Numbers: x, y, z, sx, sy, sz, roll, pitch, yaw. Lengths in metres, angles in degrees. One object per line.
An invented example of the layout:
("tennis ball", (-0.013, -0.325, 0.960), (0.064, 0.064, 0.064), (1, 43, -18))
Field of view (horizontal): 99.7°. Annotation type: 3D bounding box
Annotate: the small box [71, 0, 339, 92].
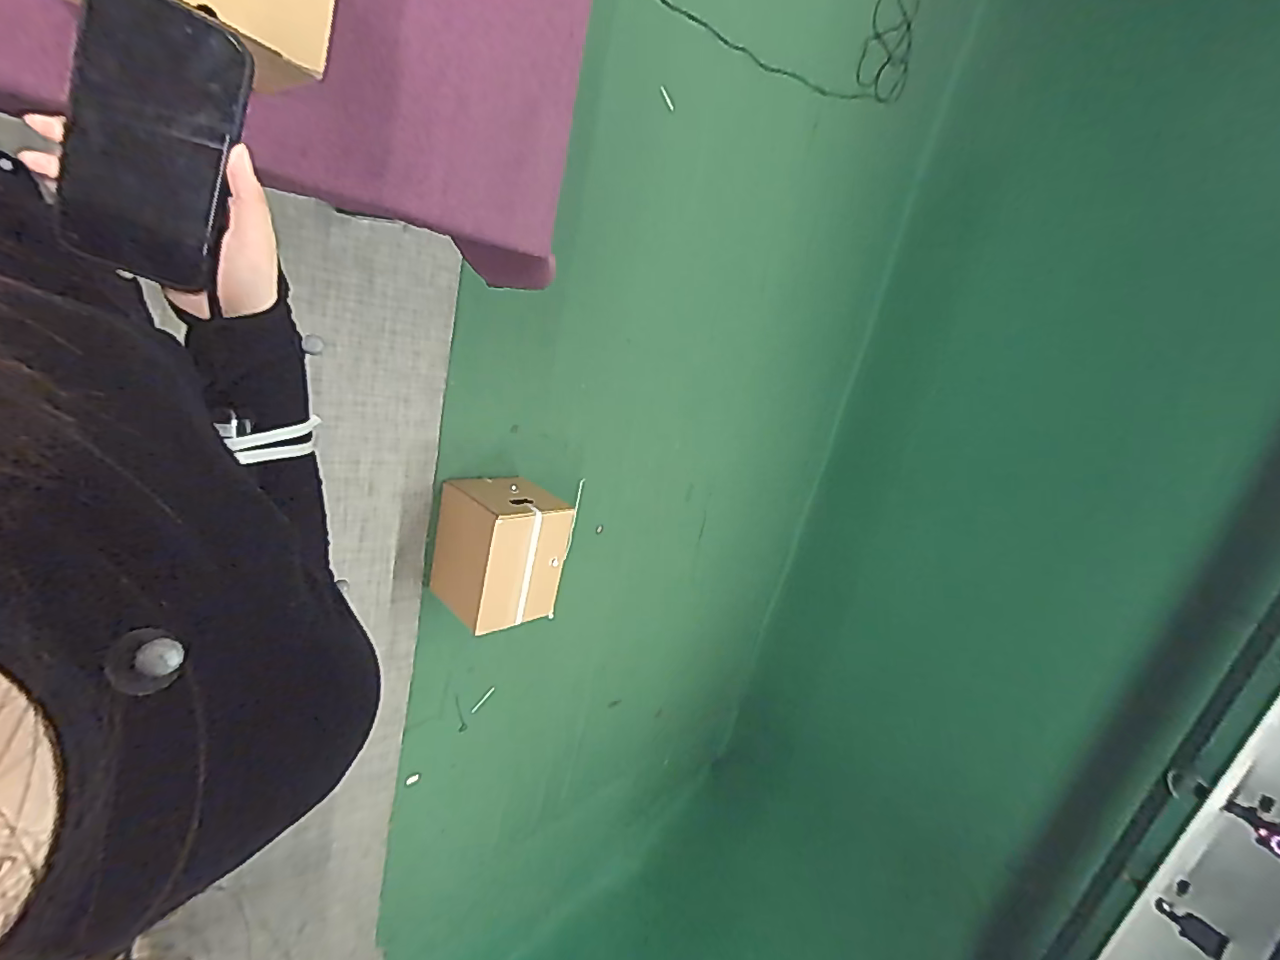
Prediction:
("small box", (-0.364, -0.462, 0.447), (0.168, 0.176, 0.179), (1, 109, -50))
